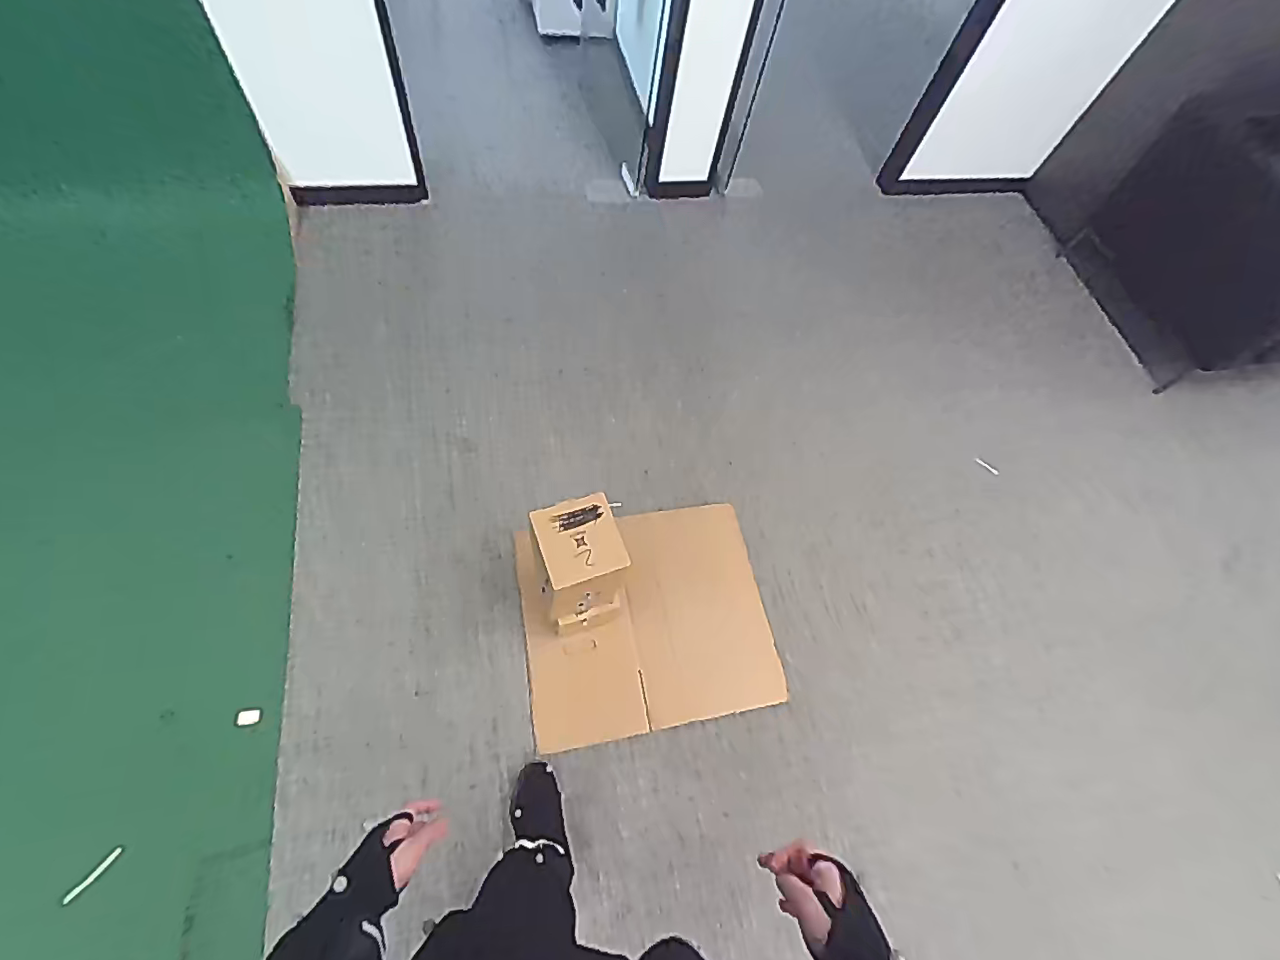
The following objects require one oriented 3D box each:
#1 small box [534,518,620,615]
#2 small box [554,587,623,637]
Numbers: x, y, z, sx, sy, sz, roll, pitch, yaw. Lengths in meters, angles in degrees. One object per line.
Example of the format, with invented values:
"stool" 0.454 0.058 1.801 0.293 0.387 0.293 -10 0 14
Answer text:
"small box" -0.157 0.217 1.313 0.168 0.176 0.179 -13 65 -16
"small box" -0.156 0.302 1.457 0.168 0.176 0.179 -14 66 -15
